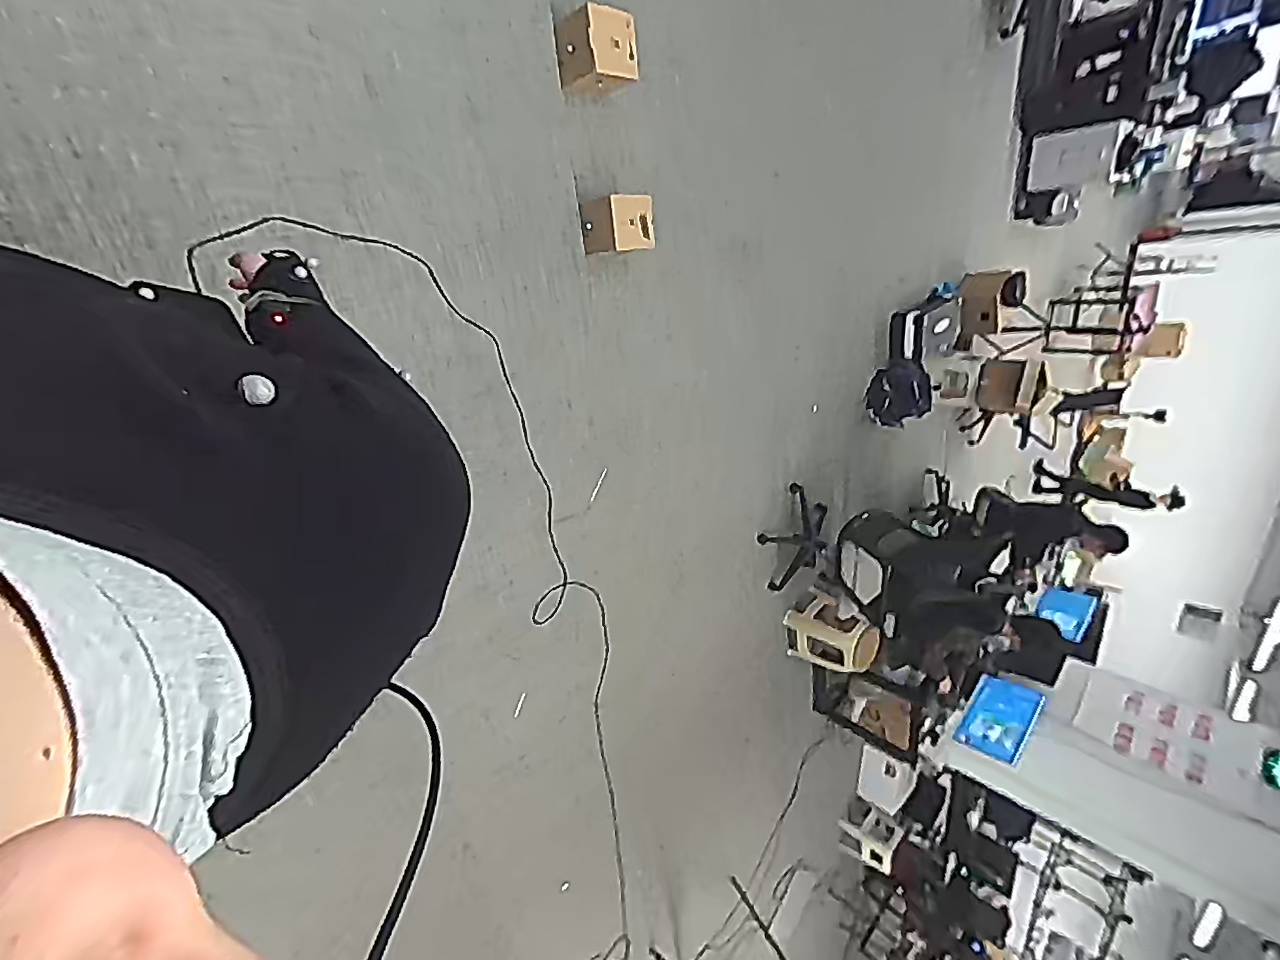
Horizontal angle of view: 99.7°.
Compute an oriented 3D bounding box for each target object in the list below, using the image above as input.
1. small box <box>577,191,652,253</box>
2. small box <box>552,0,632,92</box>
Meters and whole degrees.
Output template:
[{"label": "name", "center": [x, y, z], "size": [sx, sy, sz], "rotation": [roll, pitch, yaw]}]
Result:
[{"label": "small box", "center": [-0.086, -0.857, 1.803], "size": [0.179, 0.176, 0.168], "rotation": [-23, 116, -36]}, {"label": "small box", "center": [-0.150, -1.295, 1.626], "size": [0.179, 0.176, 0.168], "rotation": [-24, 117, -37]}]
